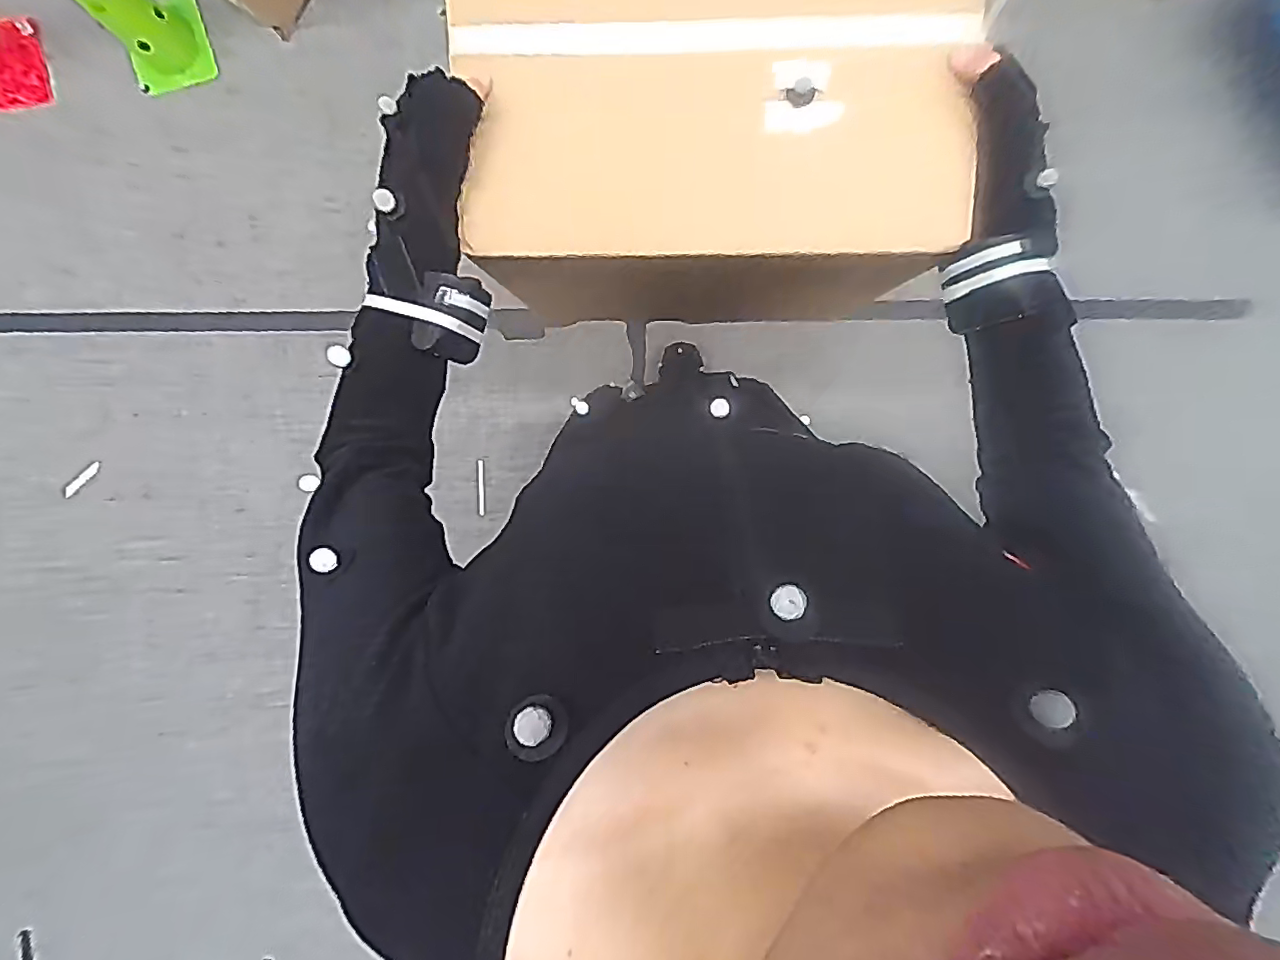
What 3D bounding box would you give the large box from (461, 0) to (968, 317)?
[{"bbox_3d":[0.058,-0.363,0.574,0.408,0.320,0.320,0,97,1],"label":"large box"}]
